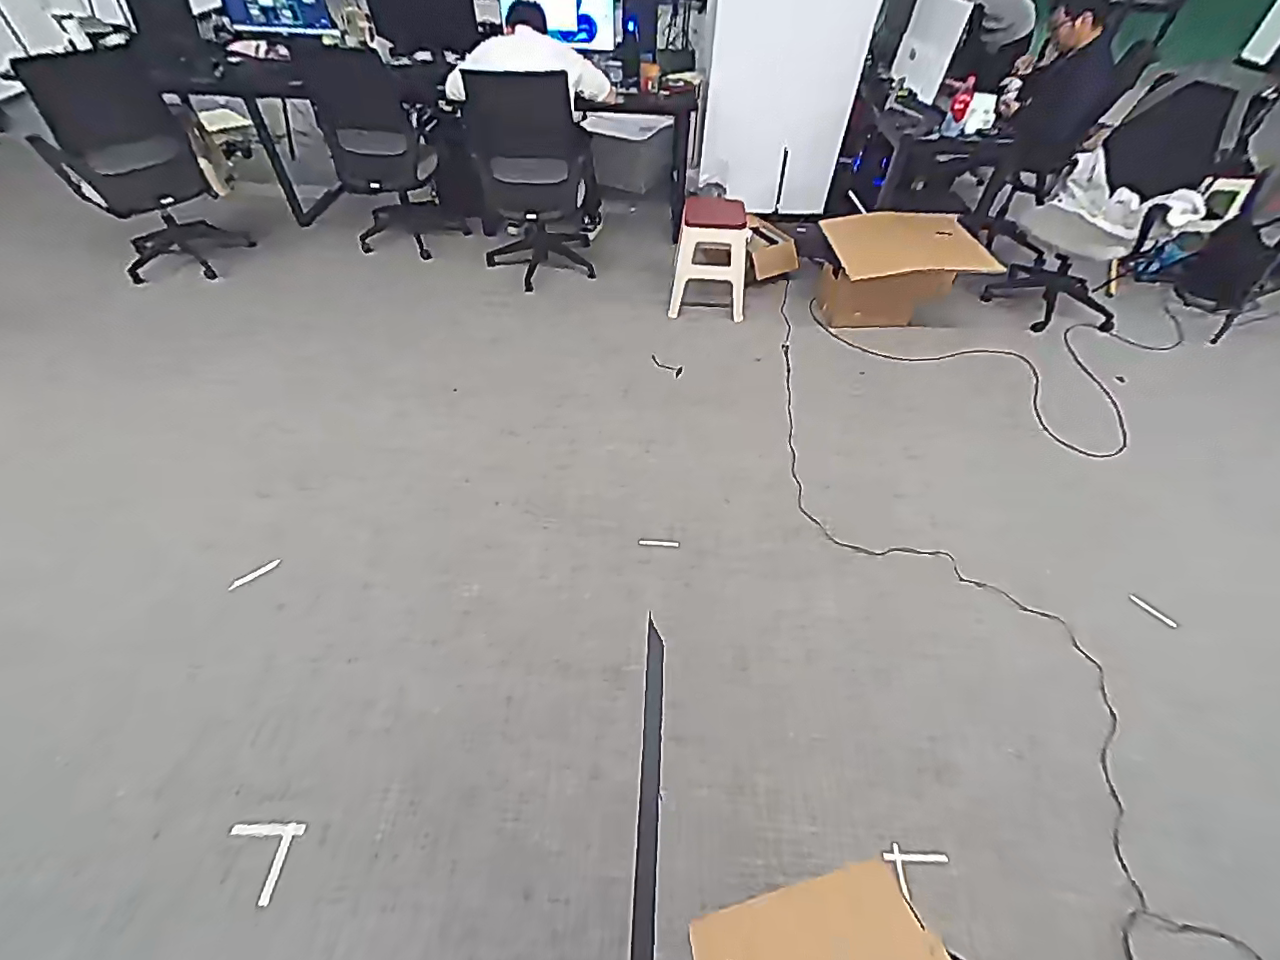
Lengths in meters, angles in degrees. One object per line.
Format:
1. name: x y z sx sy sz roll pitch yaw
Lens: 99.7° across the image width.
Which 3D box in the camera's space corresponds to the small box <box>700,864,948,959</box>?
1. small box: 0.158 0.441 0.396 0.179 0.176 0.168 -17 9 -1
